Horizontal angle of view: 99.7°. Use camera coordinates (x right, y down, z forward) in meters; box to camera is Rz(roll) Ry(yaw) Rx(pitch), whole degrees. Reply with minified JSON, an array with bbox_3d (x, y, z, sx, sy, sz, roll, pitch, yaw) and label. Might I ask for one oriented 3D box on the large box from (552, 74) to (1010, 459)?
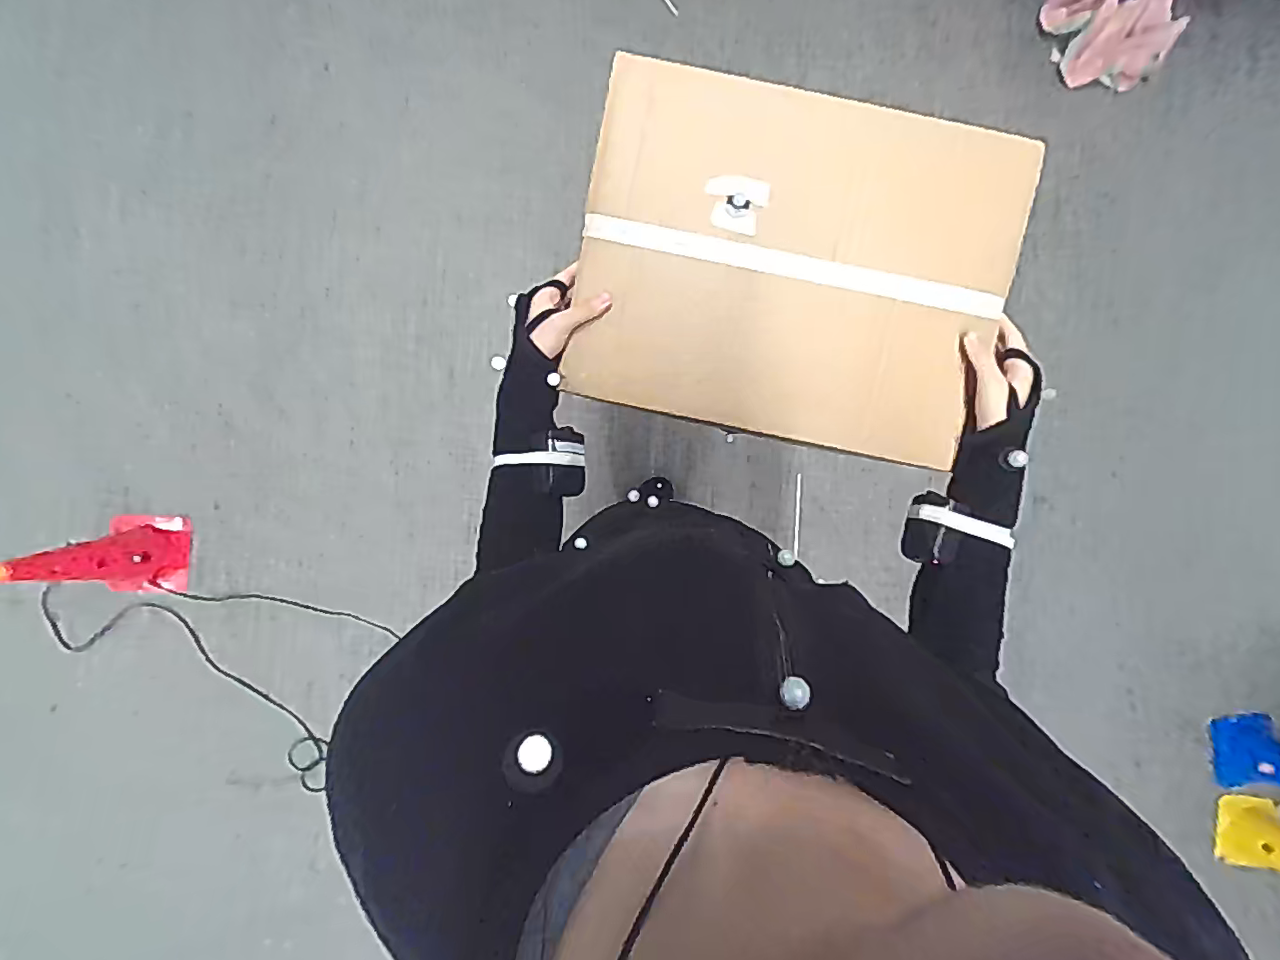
[{"bbox_3d":[0.136,-0.220,0.678,0.408,0.320,0.320,11,96,0],"label":"large box"}]
